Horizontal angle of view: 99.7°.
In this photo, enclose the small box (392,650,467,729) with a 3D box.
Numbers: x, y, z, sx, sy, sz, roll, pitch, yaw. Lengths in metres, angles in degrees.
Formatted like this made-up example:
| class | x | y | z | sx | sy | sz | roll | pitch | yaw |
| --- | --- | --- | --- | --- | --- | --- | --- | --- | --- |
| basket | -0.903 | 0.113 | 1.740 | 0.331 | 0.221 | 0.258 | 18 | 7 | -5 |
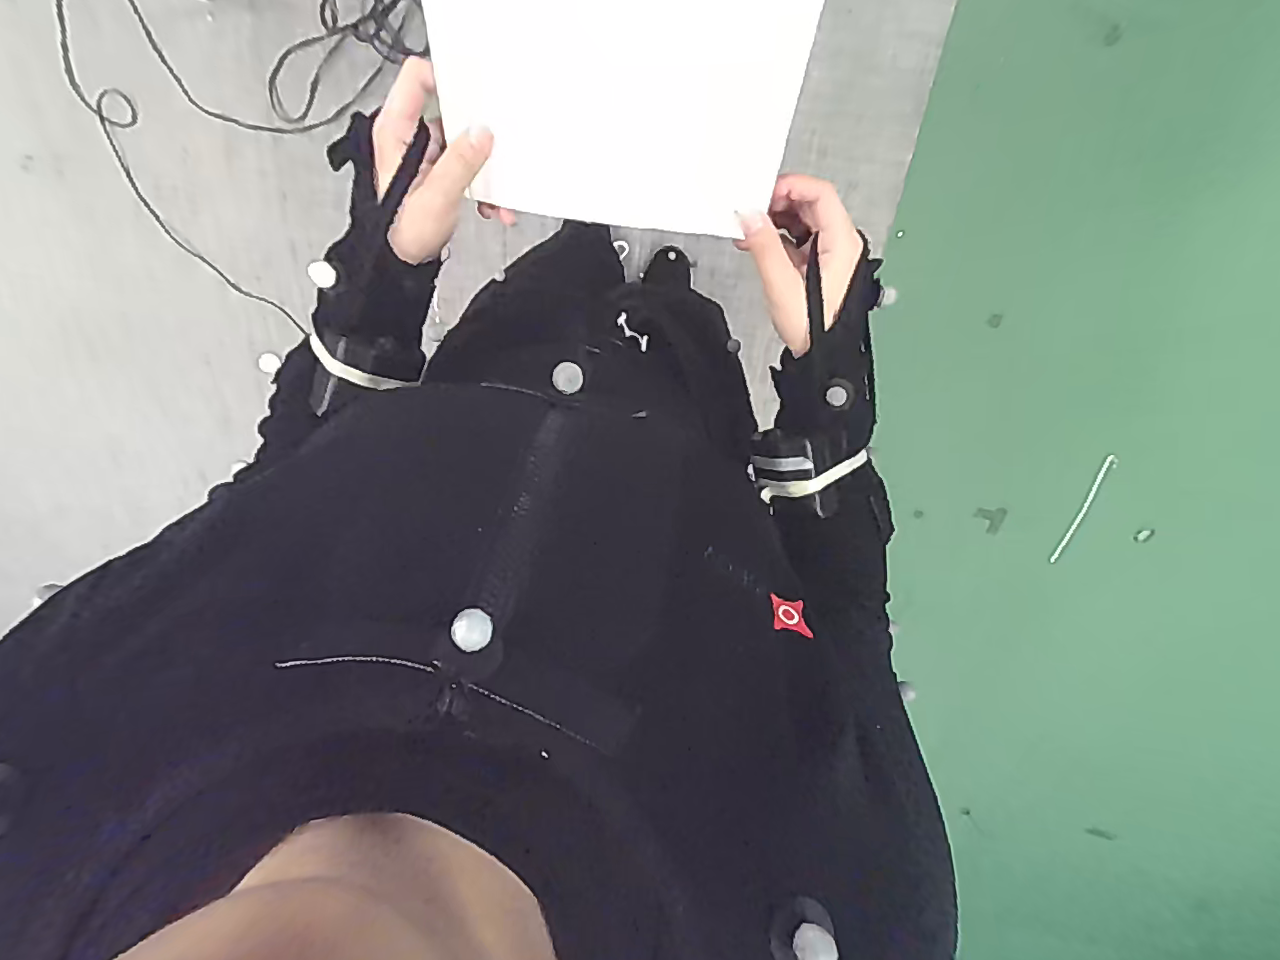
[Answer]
| class | x | y | z | sx | sy | sz | roll | pitch | yaw |
| --- | --- | --- | --- | --- | --- | --- | --- | --- | --- |
| small box | -0.677 | 0.680 | 1.768 | 0.179 | 0.176 | 0.168 | 6 | 117 | 4 |
